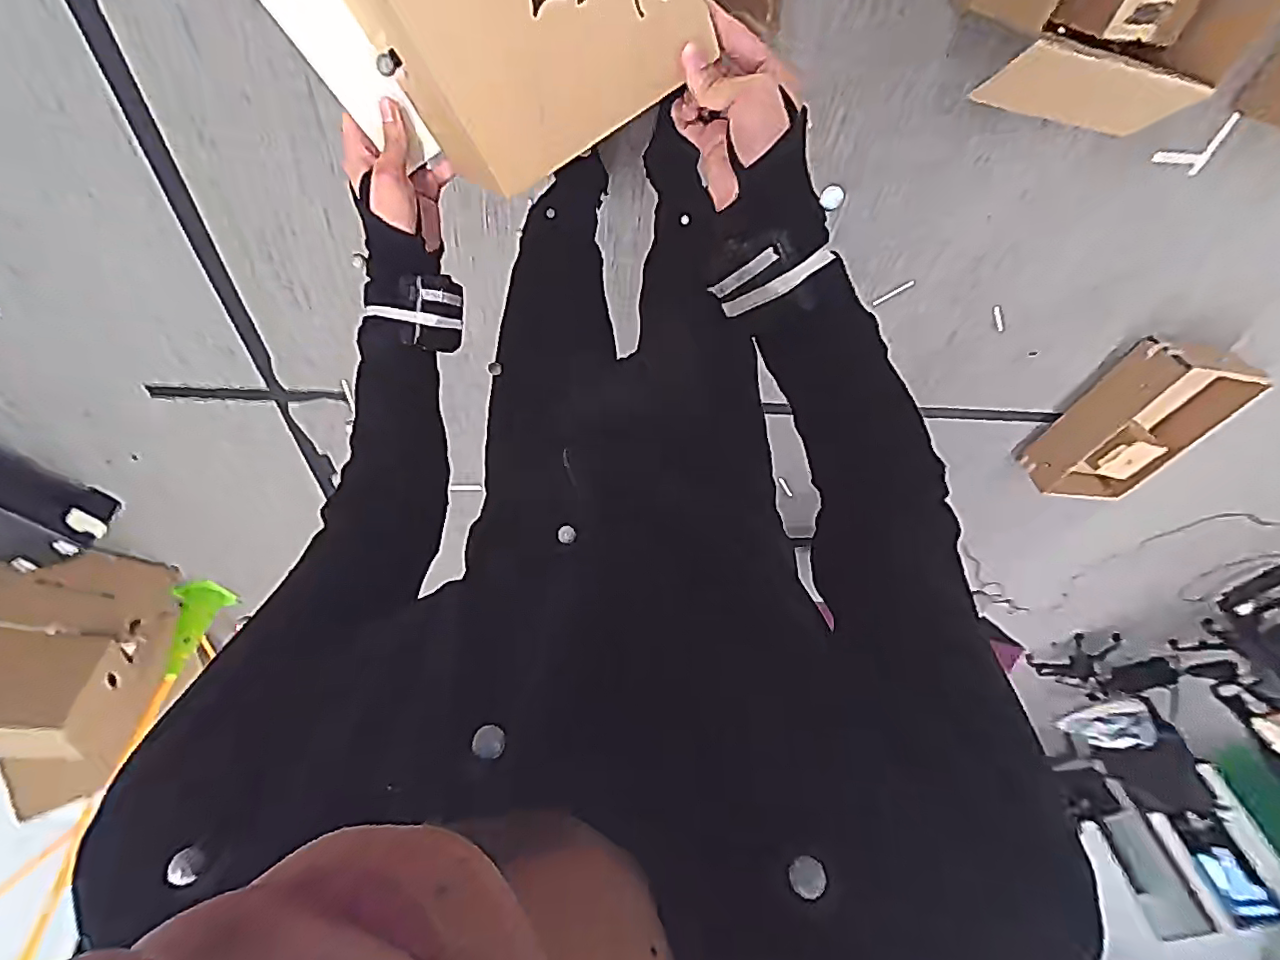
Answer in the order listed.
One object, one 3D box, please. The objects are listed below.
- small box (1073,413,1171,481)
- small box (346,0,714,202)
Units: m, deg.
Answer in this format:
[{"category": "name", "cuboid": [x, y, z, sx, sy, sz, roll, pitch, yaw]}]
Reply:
[{"category": "small box", "cuboid": [1.762, -0.124, 1.987, 0.179, 0.176, 0.168, 9, 136, -19]}, {"category": "small box", "cuboid": [-0.086, -0.317, 0.356, 0.179, 0.176, 0.168, -37, 135, -5]}]
